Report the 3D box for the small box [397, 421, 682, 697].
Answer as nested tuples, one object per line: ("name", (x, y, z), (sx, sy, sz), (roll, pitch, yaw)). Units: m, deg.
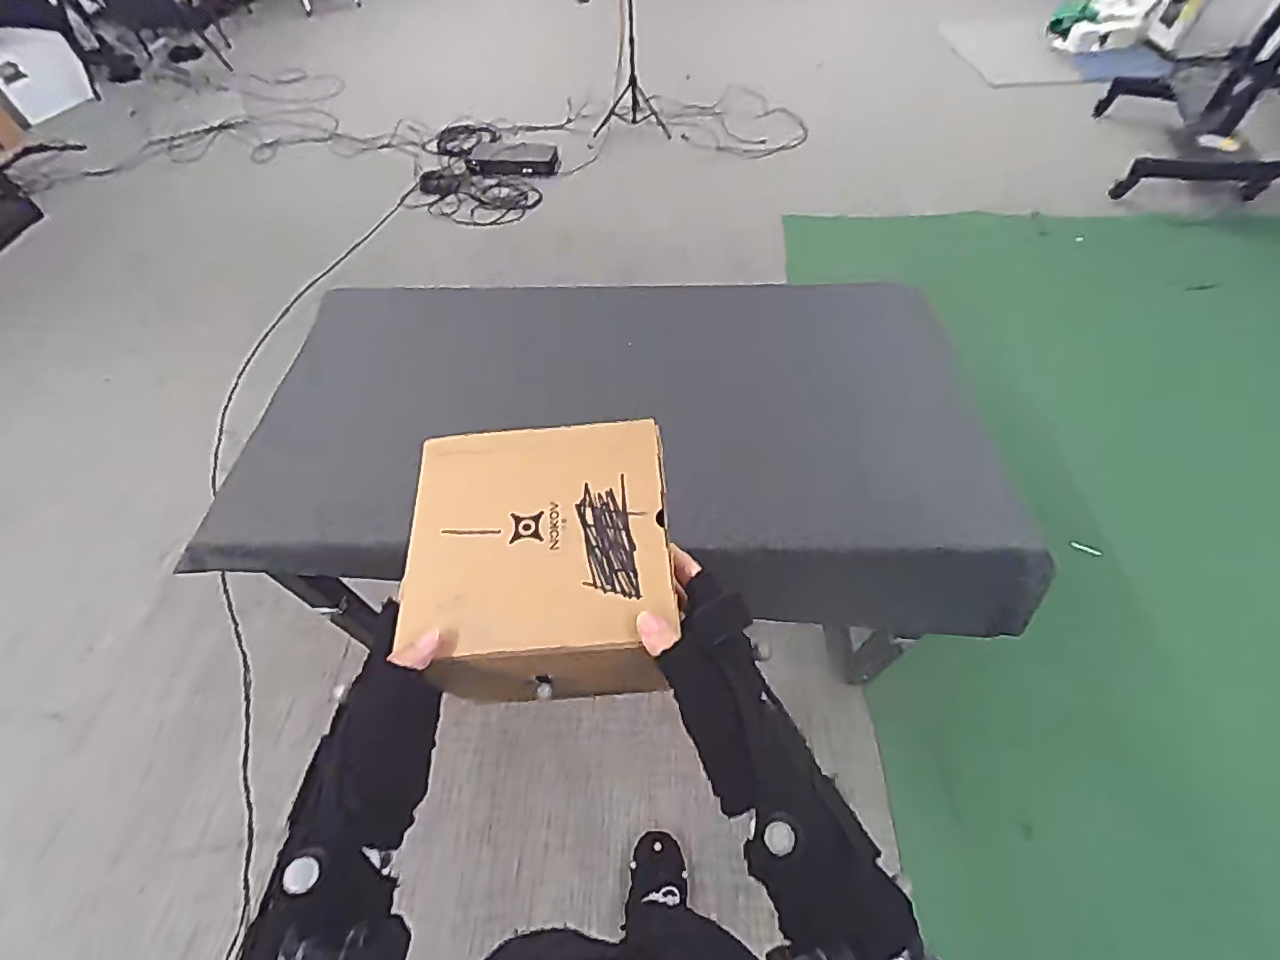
("small box", (-0.065, 0.071, 0.436), (0.179, 0.176, 0.168), (-5, 59, -1))
